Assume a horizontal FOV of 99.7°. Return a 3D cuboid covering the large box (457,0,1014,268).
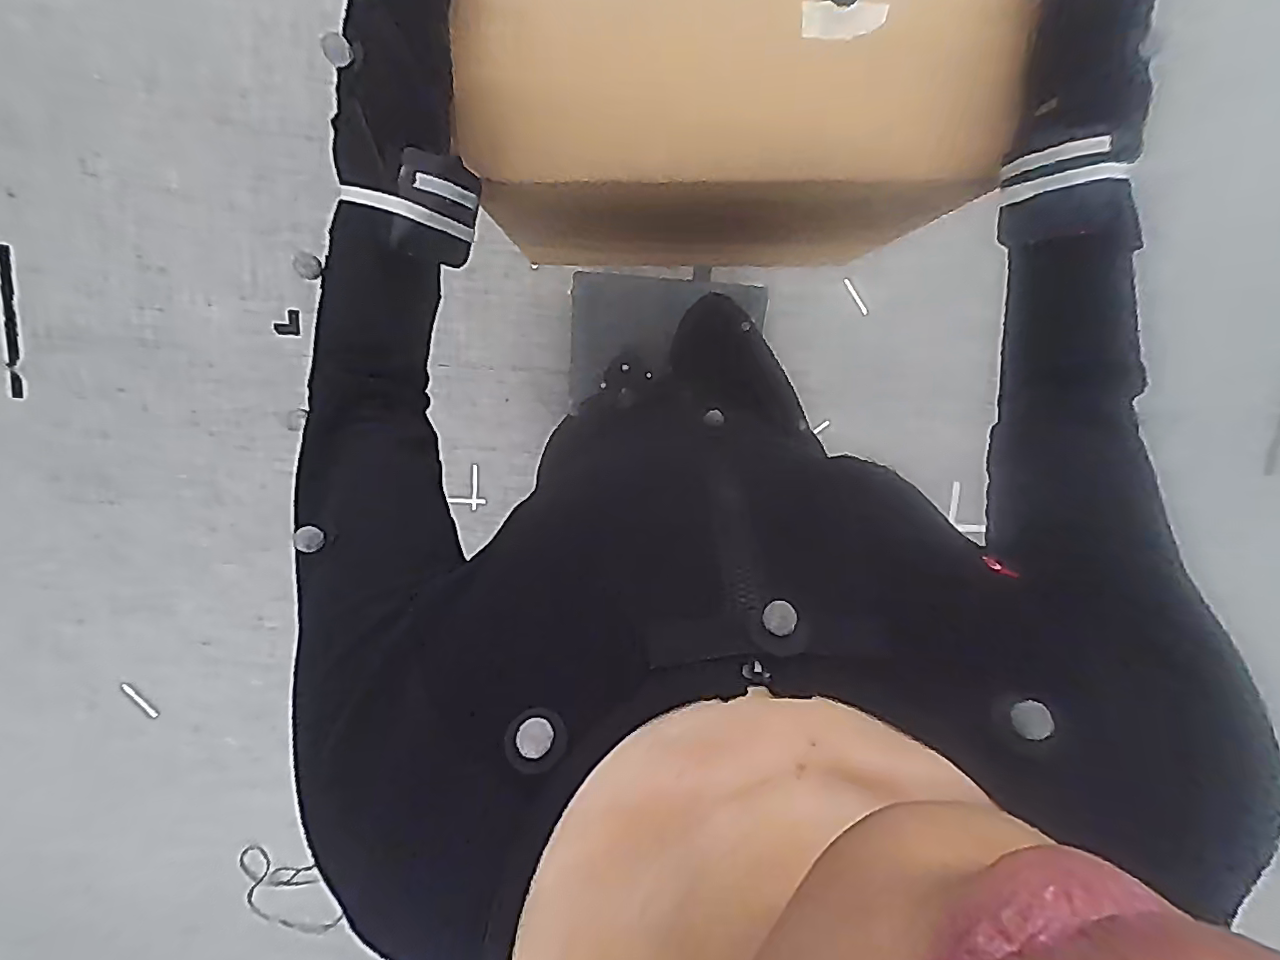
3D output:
[{"bbox_3d":[0.063,-0.402,0.522,0.408,0.320,0.320,-1,101,-1],"label":"large box"}]
